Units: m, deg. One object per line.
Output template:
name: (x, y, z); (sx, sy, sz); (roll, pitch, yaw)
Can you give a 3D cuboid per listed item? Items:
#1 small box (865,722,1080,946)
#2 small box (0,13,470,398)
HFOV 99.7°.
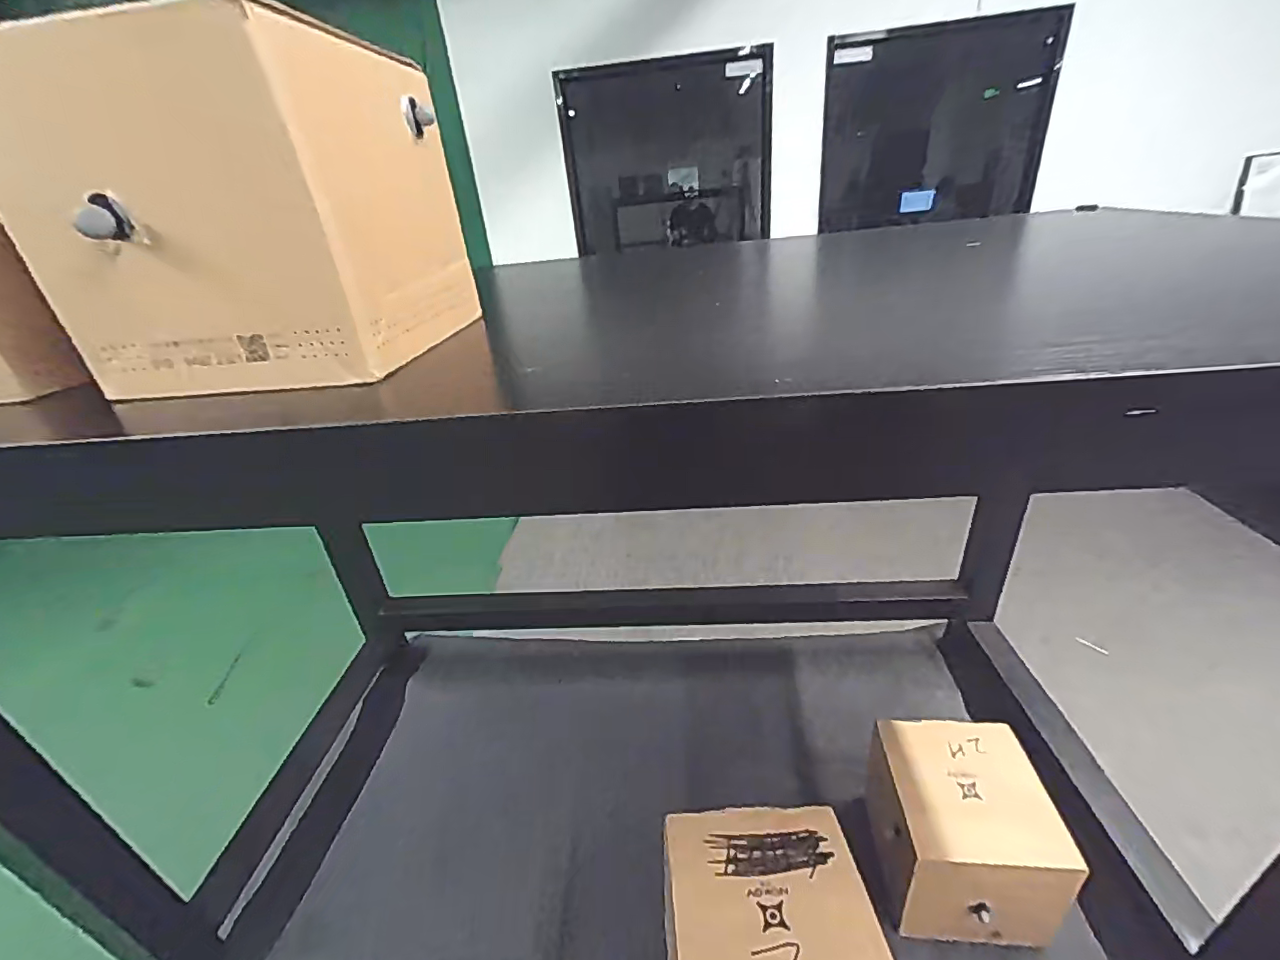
small box: (0.388, 0.431, 0.669); (0.168, 0.176, 0.179); (-1, 27, 9)
small box: (-0.227, -0.155, 0.344); (0.168, 0.176, 0.179); (-3, 28, 7)
